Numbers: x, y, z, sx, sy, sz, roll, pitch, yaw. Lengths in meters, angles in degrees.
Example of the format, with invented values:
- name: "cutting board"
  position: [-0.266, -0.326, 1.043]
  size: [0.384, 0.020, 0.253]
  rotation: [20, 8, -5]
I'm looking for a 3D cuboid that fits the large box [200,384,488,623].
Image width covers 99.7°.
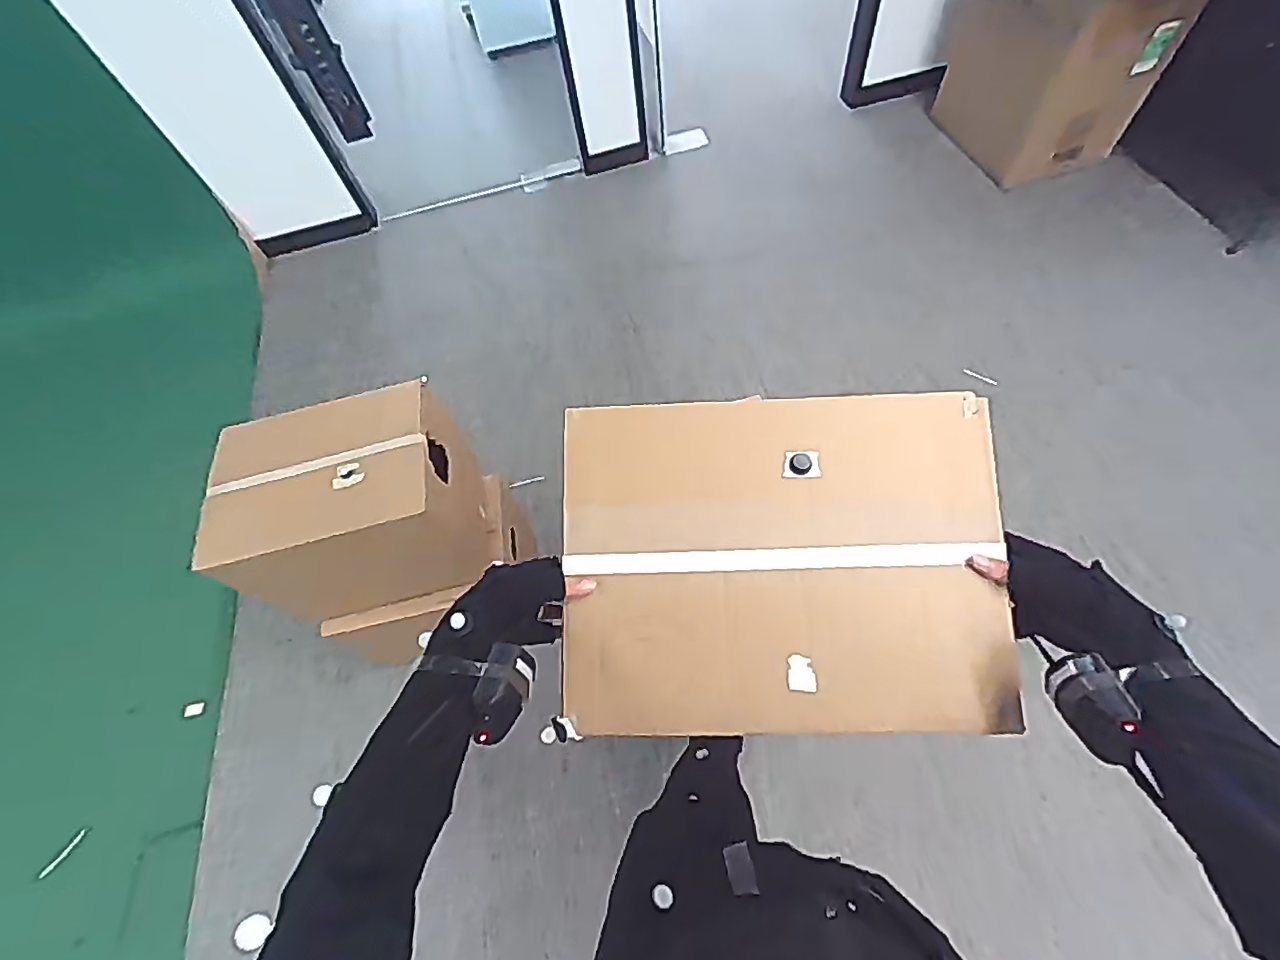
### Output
- name: "large box"
  position: [-0.564, 0.058, 1.115]
  size: [0.408, 0.320, 0.320]
  rotation: [-14, 58, -2]
